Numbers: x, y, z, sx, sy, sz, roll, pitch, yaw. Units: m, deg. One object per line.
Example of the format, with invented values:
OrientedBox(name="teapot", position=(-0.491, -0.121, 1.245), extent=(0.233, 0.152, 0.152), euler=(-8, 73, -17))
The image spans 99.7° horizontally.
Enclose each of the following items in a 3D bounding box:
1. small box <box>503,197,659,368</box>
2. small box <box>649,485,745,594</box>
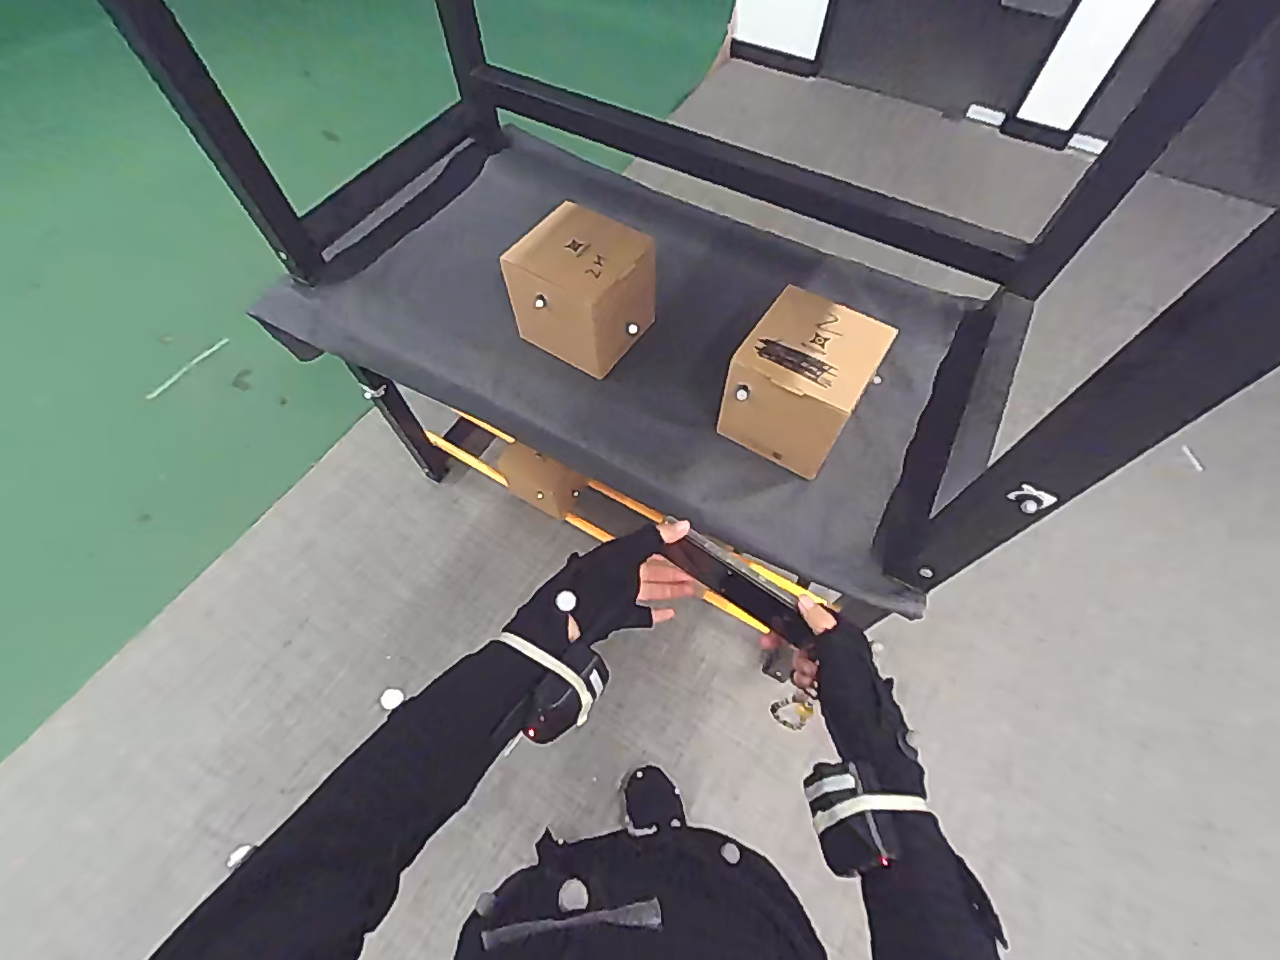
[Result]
OrientedBox(name="small box", position=(-0.086, -0.311, 0.870), extent=(0.179, 0.176, 0.168), euler=(30, 66, 16))
OrientedBox(name="small box", position=(0.137, 0.152, 1.327), extent=(0.168, 0.176, 0.179), euler=(31, 66, 16))
